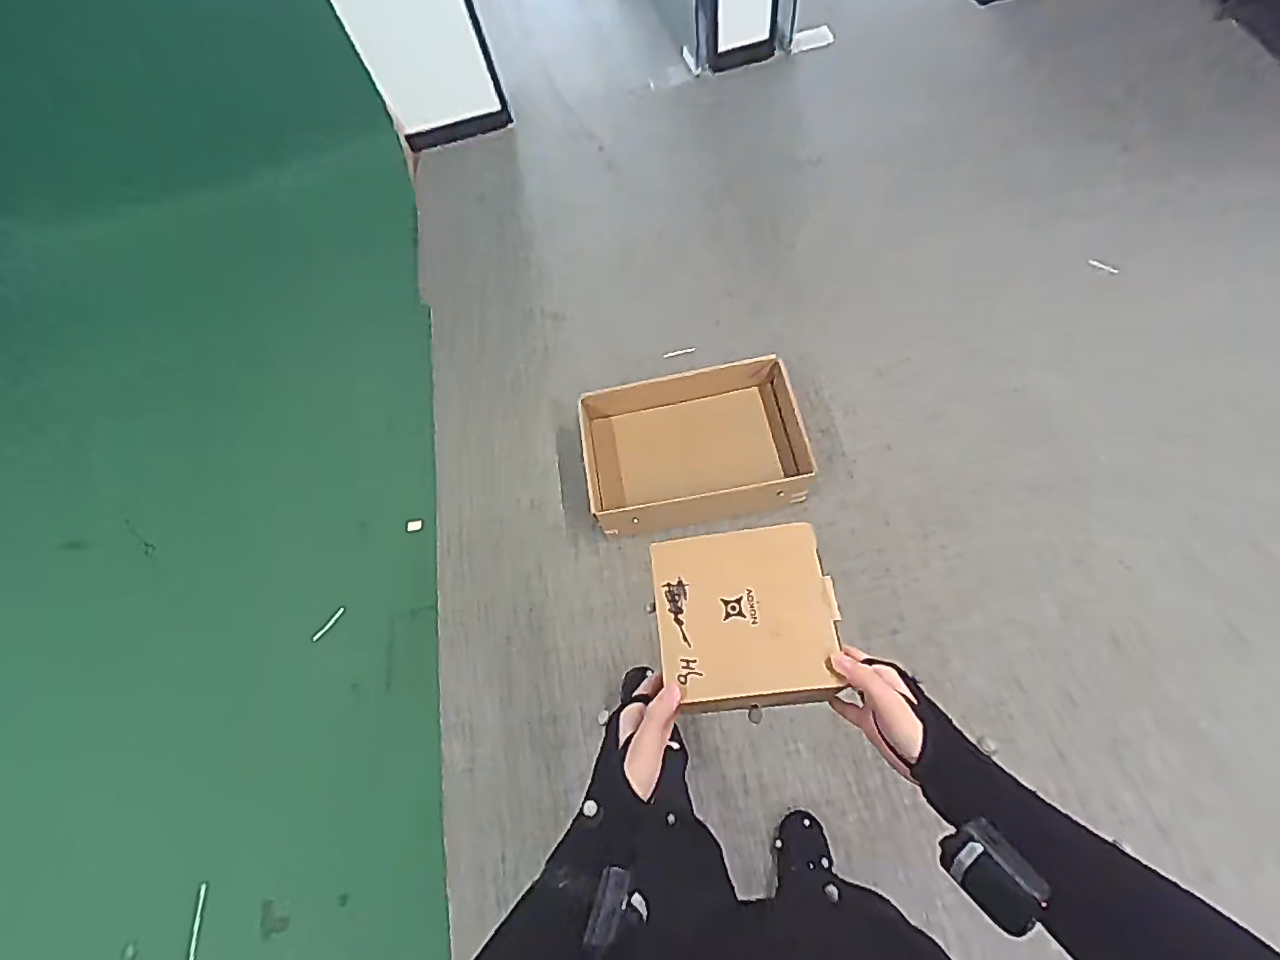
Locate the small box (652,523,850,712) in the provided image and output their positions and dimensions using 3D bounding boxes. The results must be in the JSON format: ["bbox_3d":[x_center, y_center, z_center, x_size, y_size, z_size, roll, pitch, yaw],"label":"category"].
[{"bbox_3d":[0.113,0.162,0.609,0.179,0.176,0.168,-8,62,5],"label":"small box"}]
